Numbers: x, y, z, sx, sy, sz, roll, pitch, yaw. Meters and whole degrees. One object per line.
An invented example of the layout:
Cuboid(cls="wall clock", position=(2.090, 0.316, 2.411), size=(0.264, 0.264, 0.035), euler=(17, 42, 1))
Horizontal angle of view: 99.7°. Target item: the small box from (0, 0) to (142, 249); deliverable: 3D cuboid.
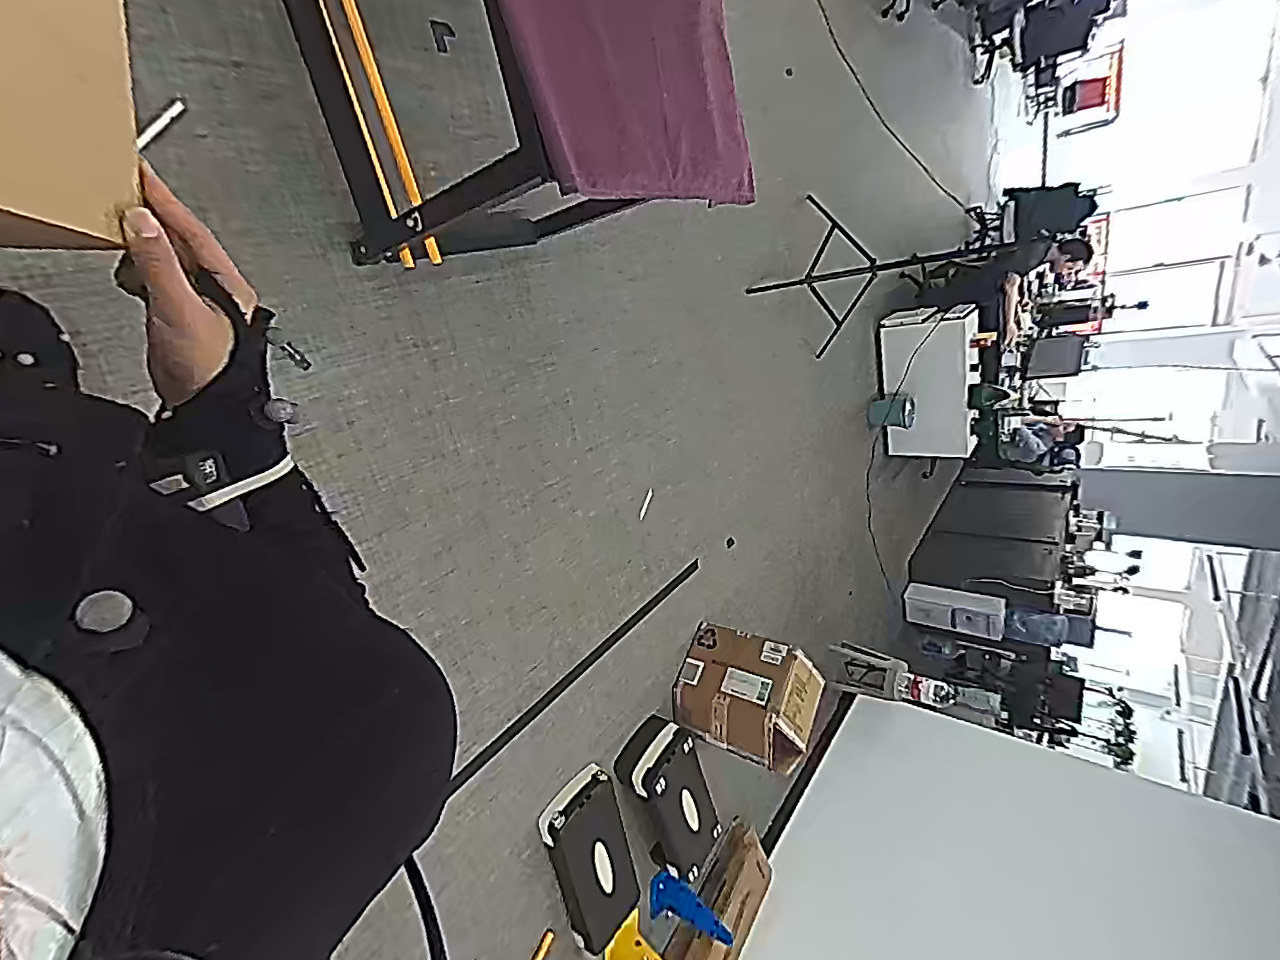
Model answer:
Cuboid(cls="small box", position=(-0.356, -0.205, 0.212), size=(0.168, 0.179, 0.176), euler=(-106, -162, -80))
